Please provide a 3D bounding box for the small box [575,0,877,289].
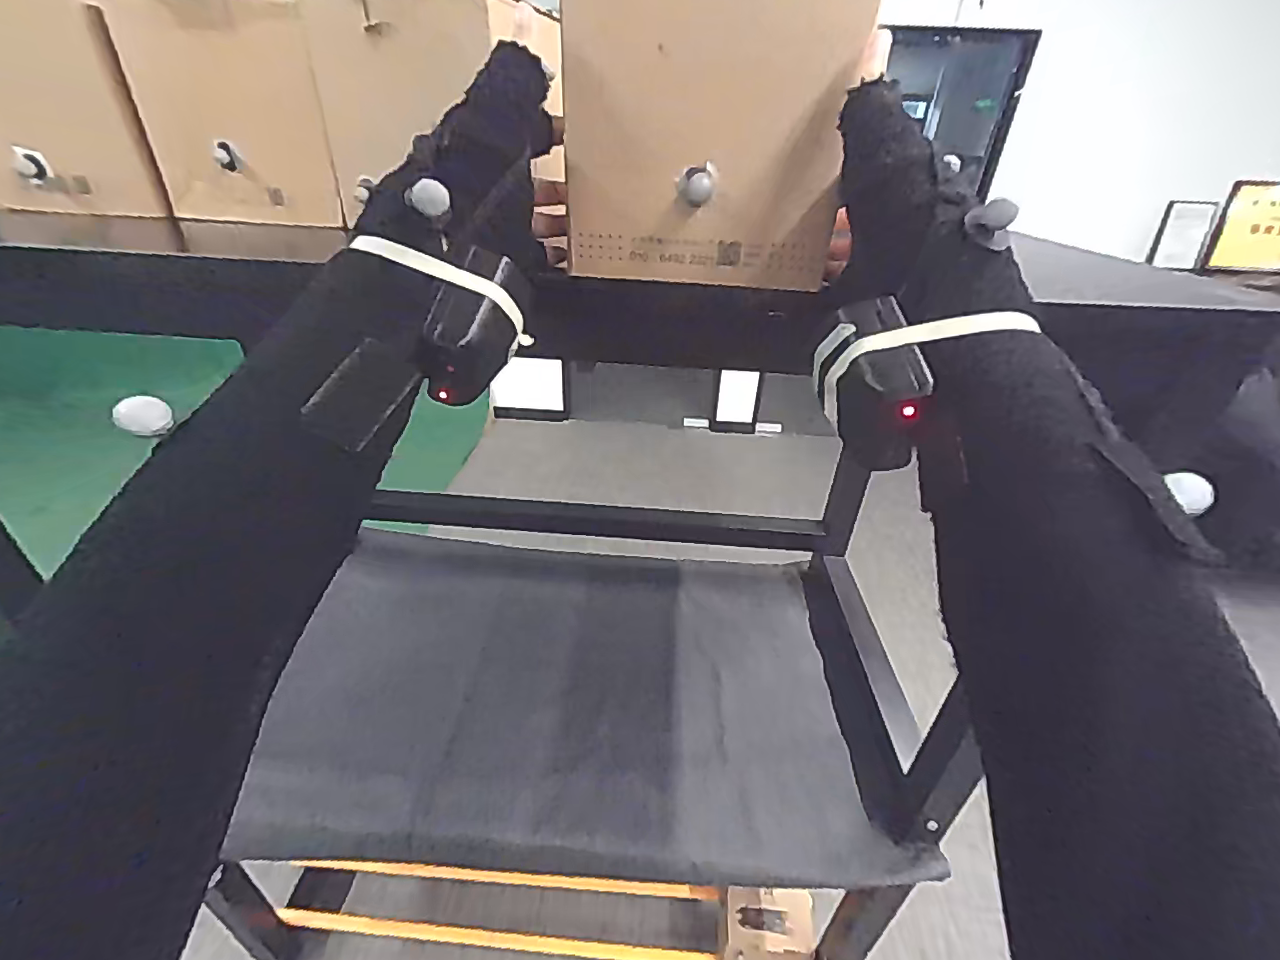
[{"bbox_3d":[0.048,-0.246,0.388,0.168,0.176,0.179,5,31,4],"label":"small box"}]
